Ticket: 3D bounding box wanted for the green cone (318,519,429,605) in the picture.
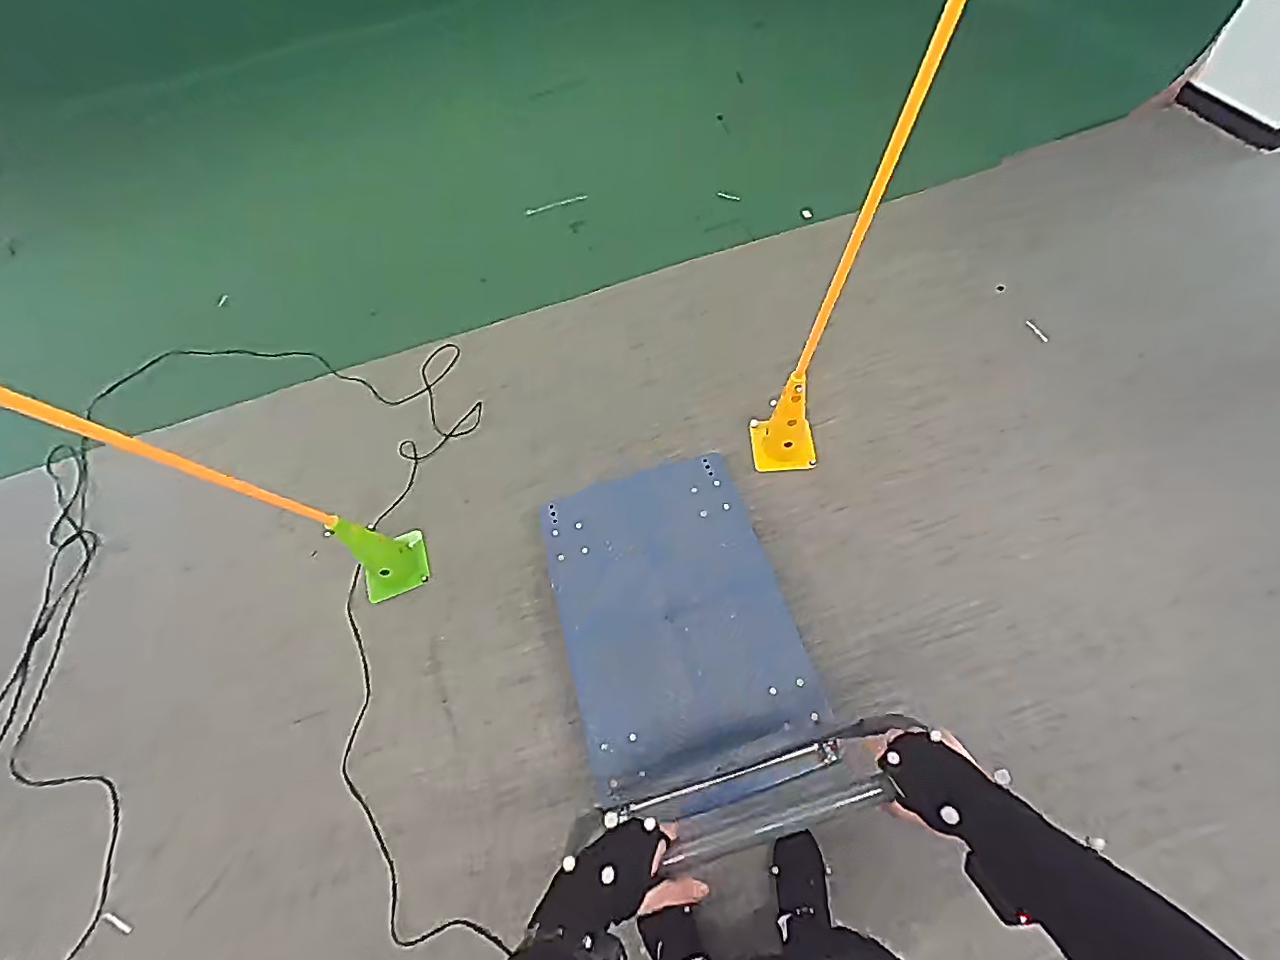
[{"bbox_3d":[-0.816,0.200,1.603,0.202,0.368,0.200,-23,60,-4],"label":"green cone"}]
